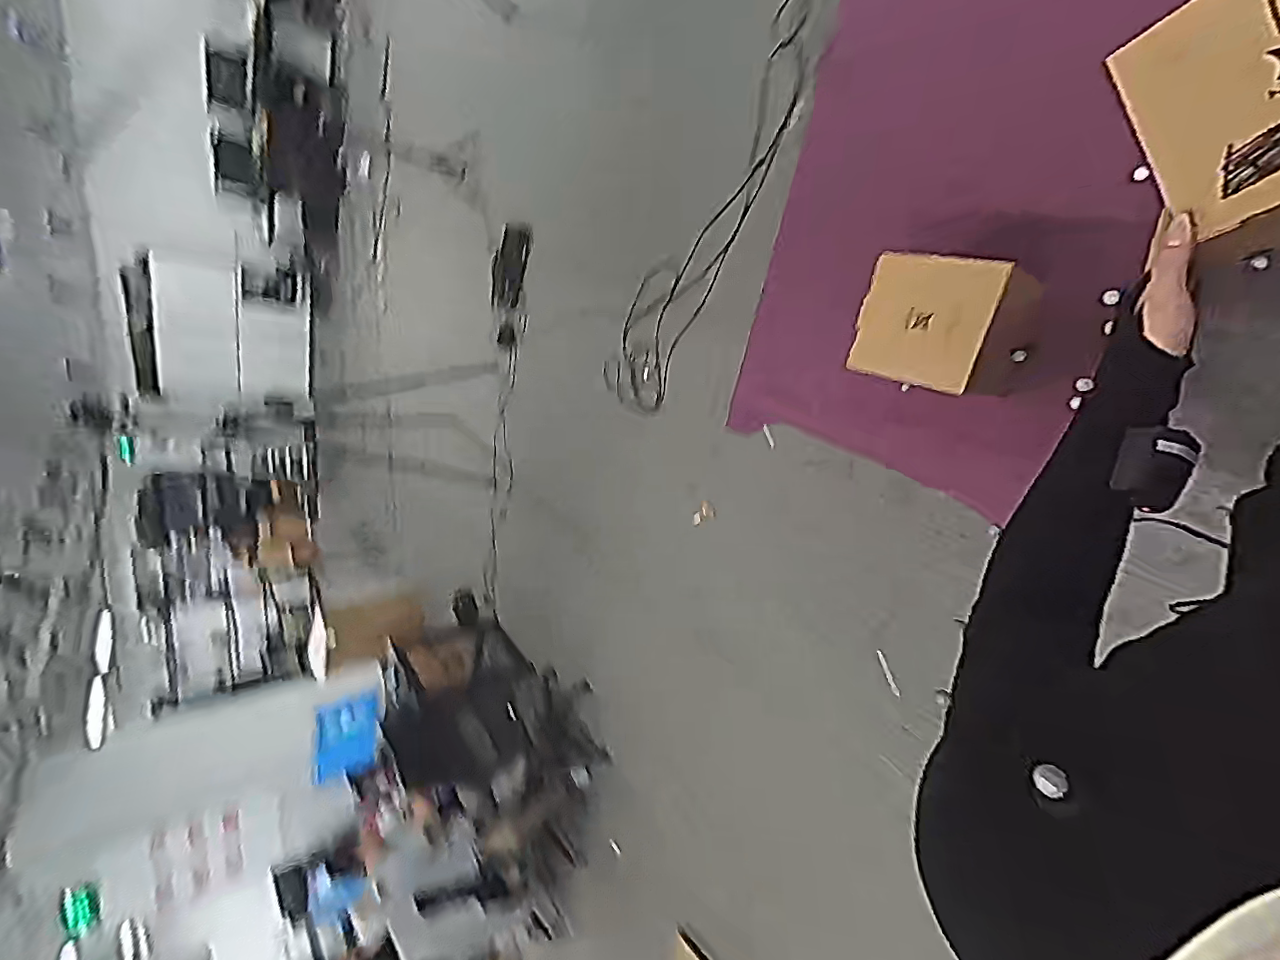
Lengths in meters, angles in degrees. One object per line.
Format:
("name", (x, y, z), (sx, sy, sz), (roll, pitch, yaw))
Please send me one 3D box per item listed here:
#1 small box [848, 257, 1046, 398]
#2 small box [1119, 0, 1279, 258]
("small box", (0.447, -0.219, 0.794), (0.179, 0.176, 0.168), (30, 116, 44))
("small box", (0.519, -0.292, 0.416), (0.168, 0.176, 0.179), (-23, 77, 51))
